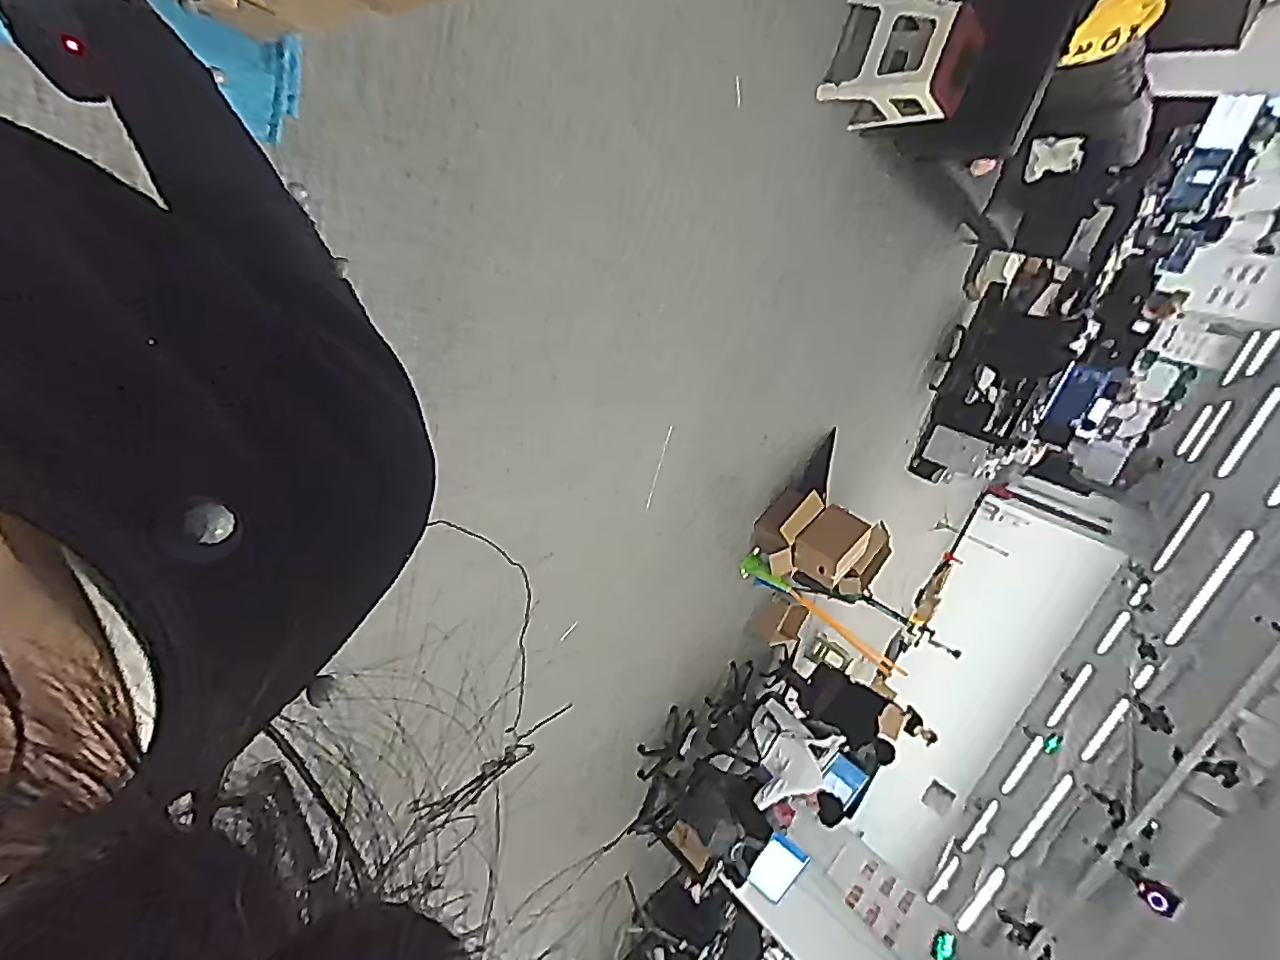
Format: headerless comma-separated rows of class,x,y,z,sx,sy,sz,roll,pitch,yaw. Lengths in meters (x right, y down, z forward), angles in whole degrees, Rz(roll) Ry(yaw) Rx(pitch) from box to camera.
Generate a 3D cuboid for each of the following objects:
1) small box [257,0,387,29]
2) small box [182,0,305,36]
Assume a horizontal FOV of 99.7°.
small box,-0.303,-0.495,0.420,0.168,0.176,0.179,-6,118,-48
small box,-0.422,-0.560,0.509,0.168,0.176,0.179,-3,117,-49
